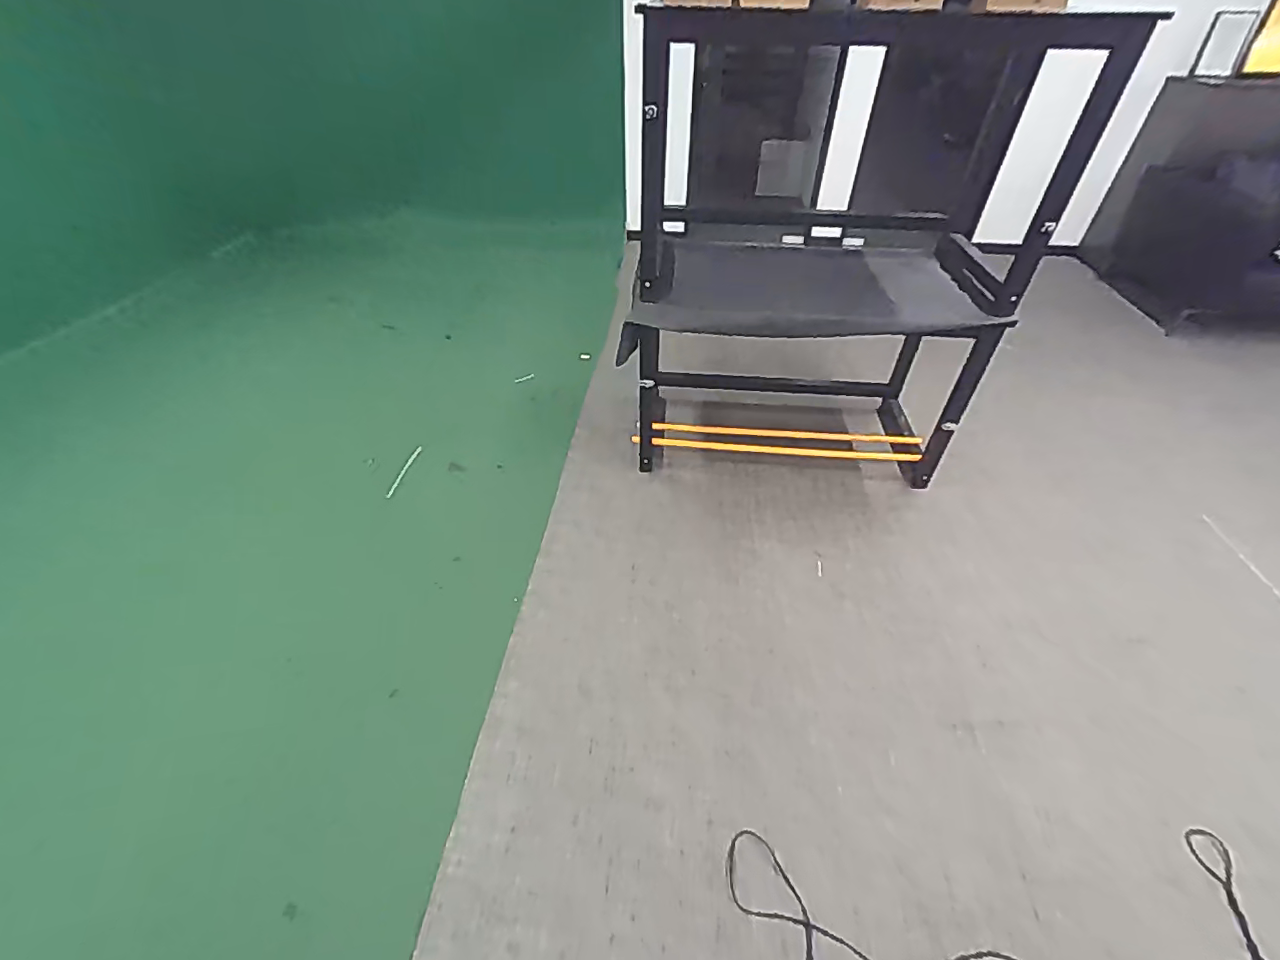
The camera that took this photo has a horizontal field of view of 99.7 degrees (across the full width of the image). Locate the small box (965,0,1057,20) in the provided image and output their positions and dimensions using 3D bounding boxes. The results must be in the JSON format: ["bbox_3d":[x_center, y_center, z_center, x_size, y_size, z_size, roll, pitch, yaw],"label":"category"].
[{"bbox_3d":[0.895,-1.195,1.270,0.168,0.176,0.179,10,42,10],"label":"small box"}]

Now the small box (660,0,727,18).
[{"bbox_3d":[0.137,-1.261,1.337,0.168,0.176,0.179,3,43,2],"label":"small box"}]
